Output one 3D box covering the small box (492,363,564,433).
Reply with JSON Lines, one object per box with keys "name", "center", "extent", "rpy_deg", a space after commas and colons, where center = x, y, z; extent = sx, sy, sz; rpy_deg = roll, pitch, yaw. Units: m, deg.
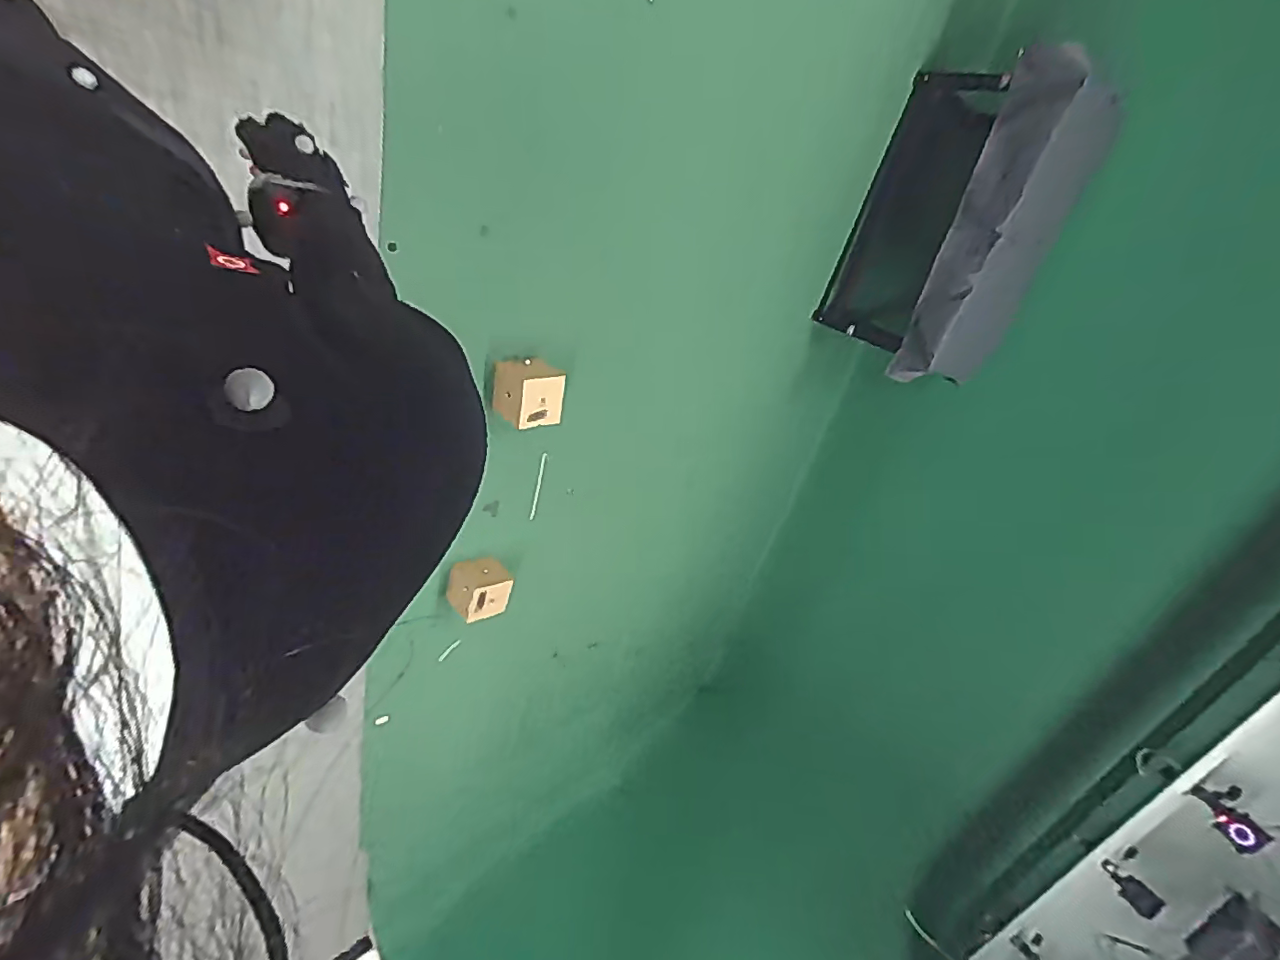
{"name": "small box", "center": [-0.378, -0.277, 1.805], "extent": [0.168, 0.176, 0.179], "rpy_deg": [-16, 130, -43]}
